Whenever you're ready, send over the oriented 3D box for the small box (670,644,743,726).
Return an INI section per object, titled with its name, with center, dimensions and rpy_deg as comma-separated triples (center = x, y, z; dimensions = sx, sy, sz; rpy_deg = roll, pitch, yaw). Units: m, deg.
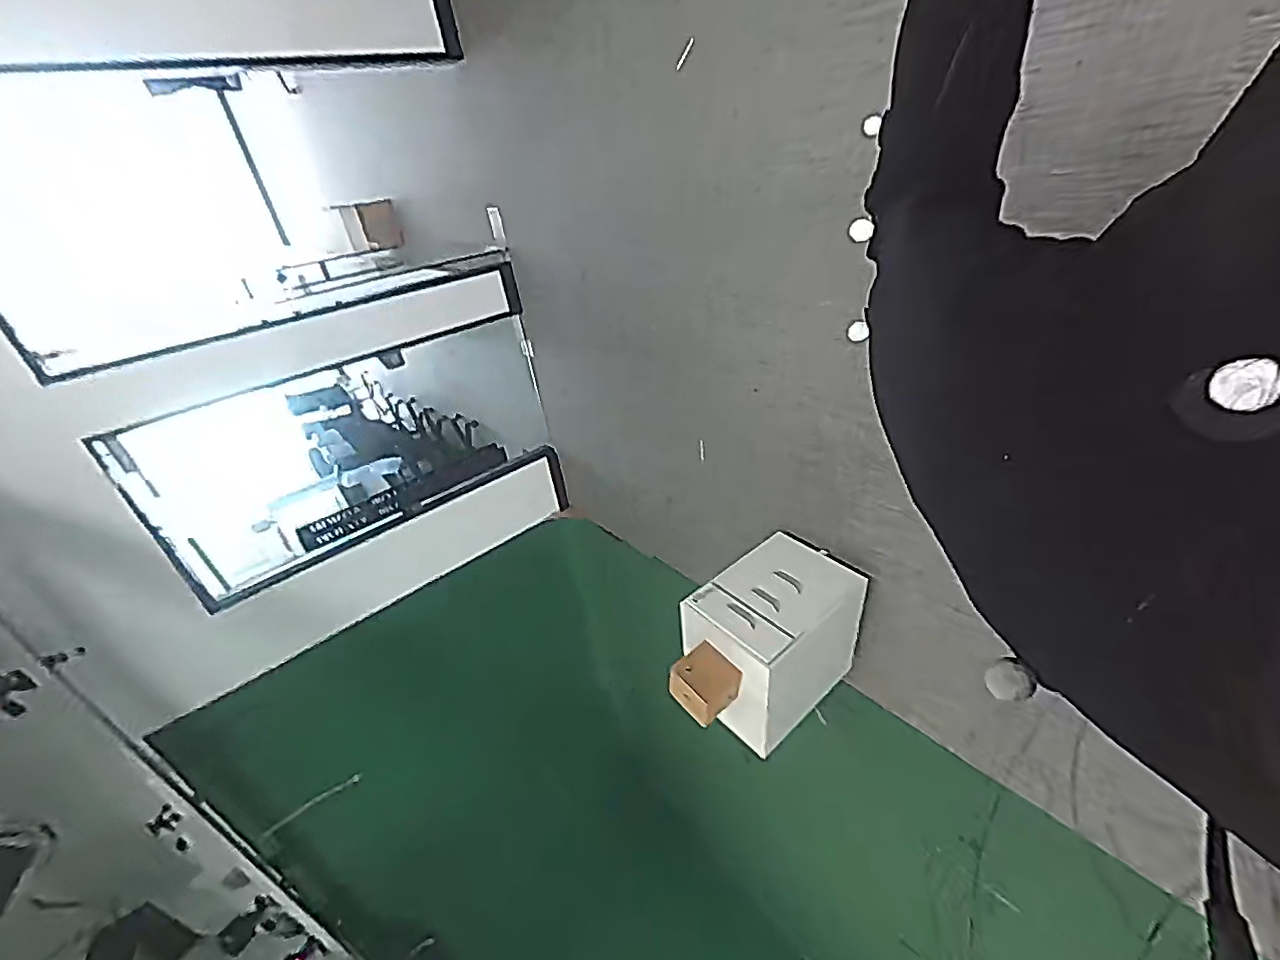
[small box]
center = 0.224, 0.690, 1.848
dimensions = 0.179, 0.176, 0.168
rpy_deg = 37, 142, 36
